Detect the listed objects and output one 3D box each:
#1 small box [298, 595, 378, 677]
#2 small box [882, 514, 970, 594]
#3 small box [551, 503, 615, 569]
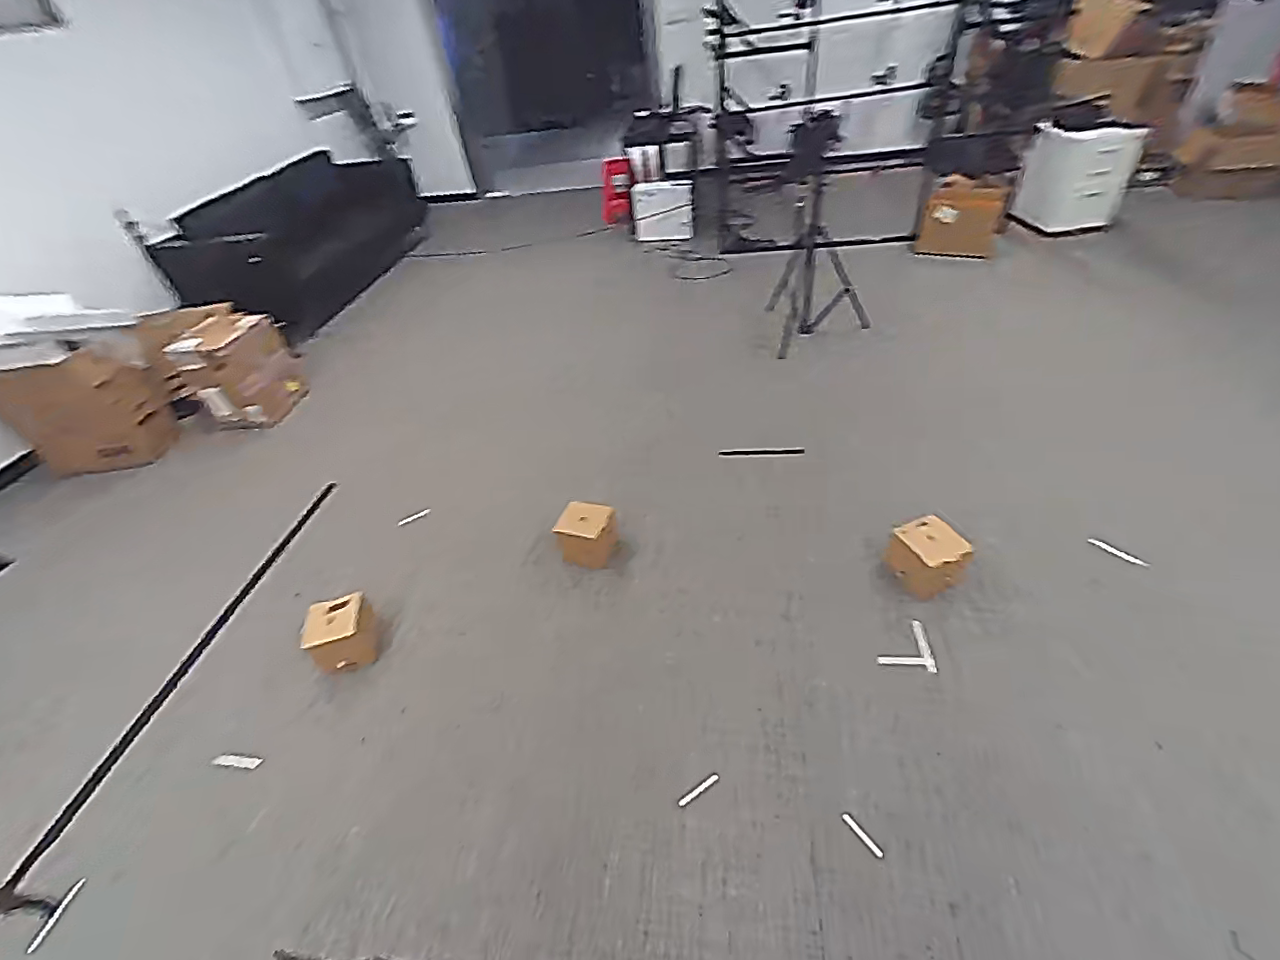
[{"bbox_3d":[-0.991,0.518,1.792,0.168,0.176,0.179,-15,42,-7],"label":"small box"},{"bbox_3d":[0.929,0.249,1.771,0.168,0.176,0.179,-19,43,-11],"label":"small box"},{"bbox_3d":[-0.205,0.210,2.018,0.179,0.176,0.168,8,42,19],"label":"small box"}]
